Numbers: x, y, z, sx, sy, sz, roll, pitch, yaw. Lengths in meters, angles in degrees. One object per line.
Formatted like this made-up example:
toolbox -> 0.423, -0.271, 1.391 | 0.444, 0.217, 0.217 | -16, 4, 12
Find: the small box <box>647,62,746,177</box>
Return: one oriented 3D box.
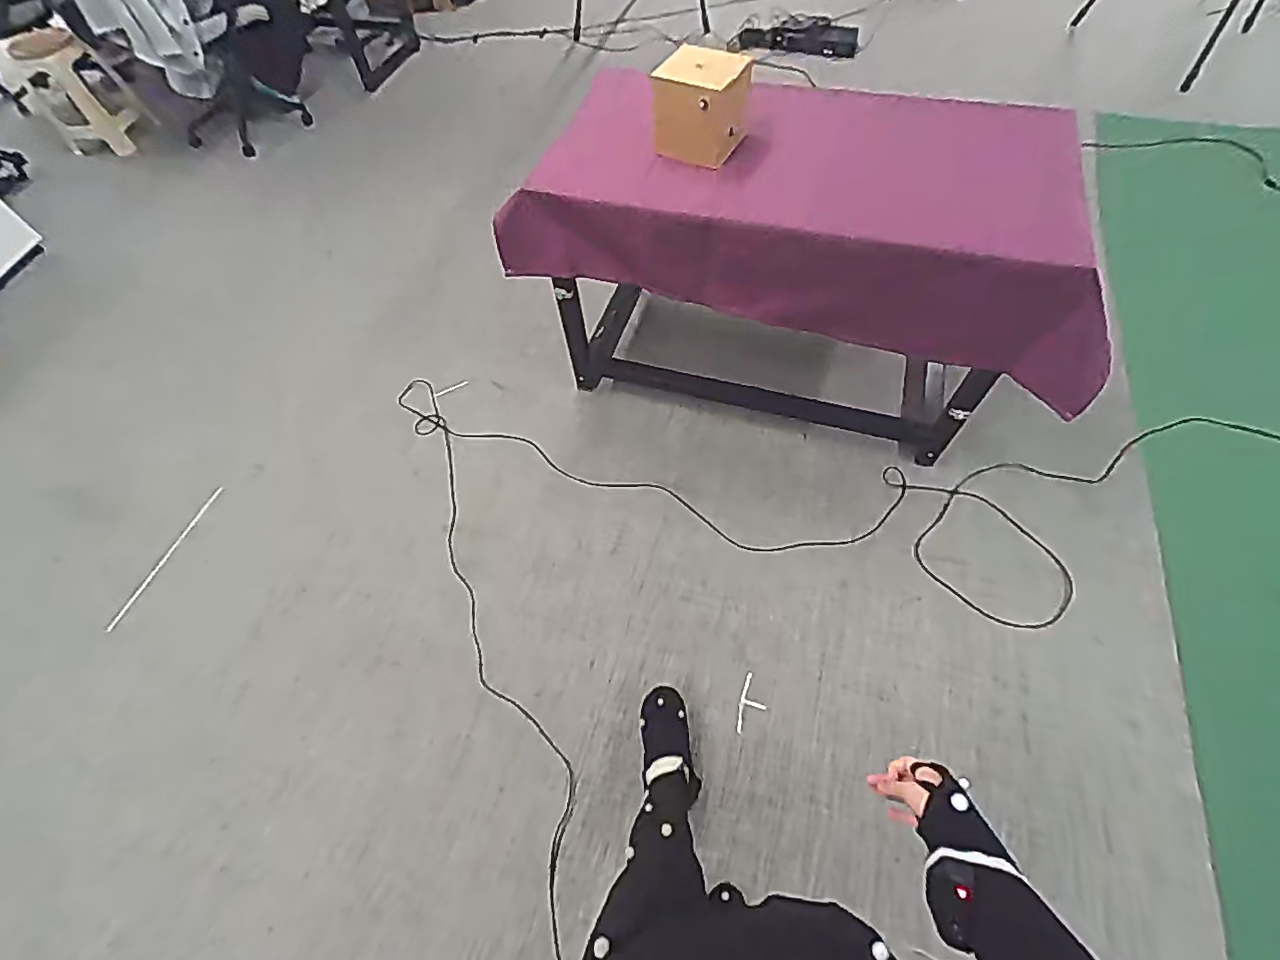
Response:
small box -> 0.132, -0.852, 1.282 | 0.179, 0.176, 0.168 | 24, 63, 17
